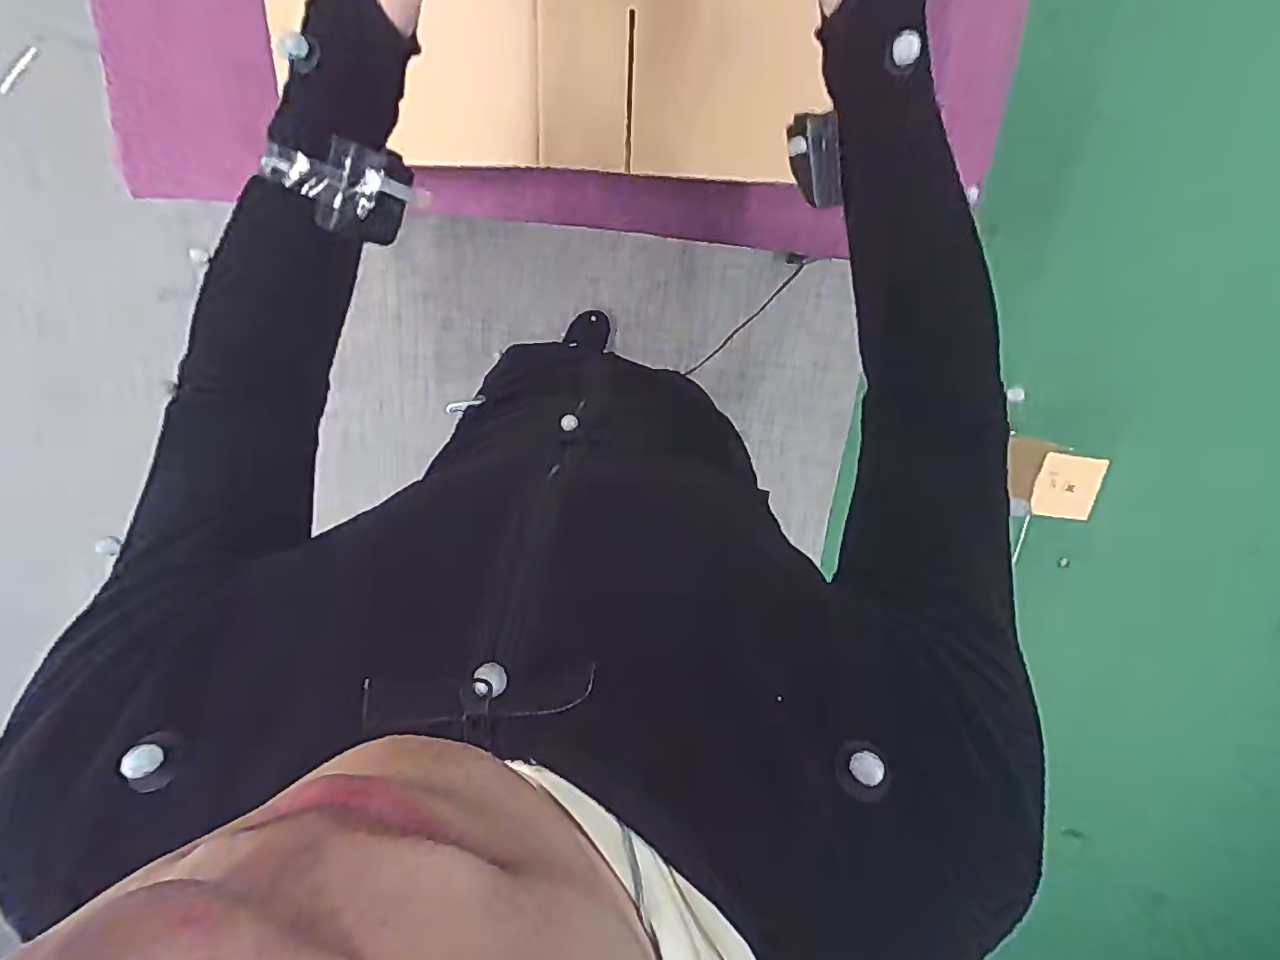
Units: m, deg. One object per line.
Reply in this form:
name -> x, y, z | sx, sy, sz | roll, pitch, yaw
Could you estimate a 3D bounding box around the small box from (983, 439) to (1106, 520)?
small box -> 1.076, -0.006, 1.452 | 0.179, 0.176, 0.168 | 7, 106, -5
